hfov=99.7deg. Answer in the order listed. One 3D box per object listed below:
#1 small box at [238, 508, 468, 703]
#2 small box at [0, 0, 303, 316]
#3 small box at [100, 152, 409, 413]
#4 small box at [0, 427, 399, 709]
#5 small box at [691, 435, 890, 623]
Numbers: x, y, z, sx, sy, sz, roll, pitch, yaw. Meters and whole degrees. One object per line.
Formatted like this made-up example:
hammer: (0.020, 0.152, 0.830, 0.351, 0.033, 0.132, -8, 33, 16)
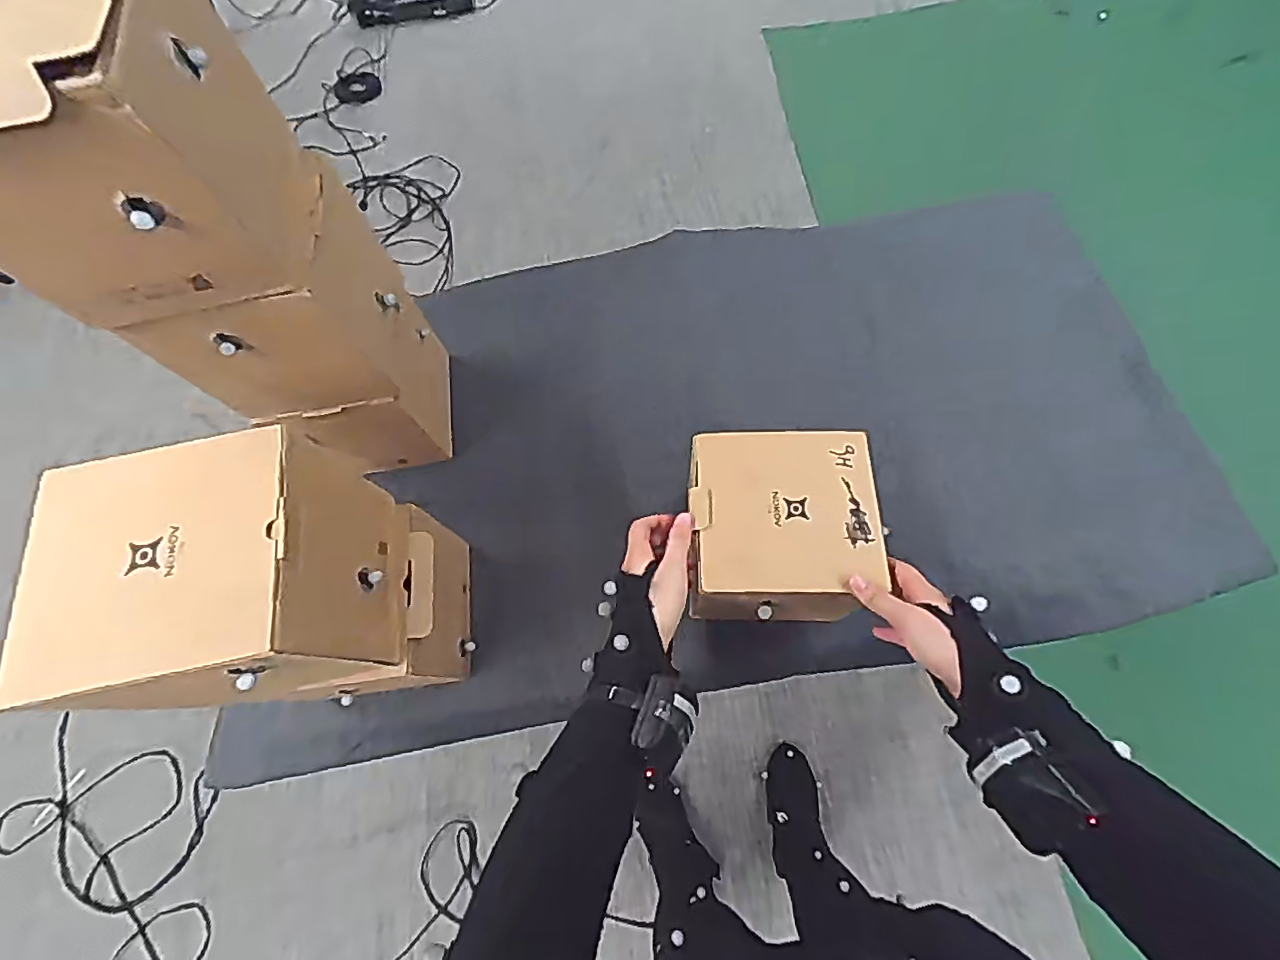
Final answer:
small box: (-0.295, 0.141, 0.586, 0.179, 0.176, 0.168, -8, 69, 1)
small box: (-0.370, -0.238, 0.385, 0.168, 0.176, 0.179, -12, 68, -3)
small box: (-0.354, -0.181, 0.536, 0.179, 0.176, 0.168, -9, 70, -1)
small box: (-0.320, 0.082, 0.435, 0.179, 0.176, 0.168, -12, 69, -2)
small box: (0.145, 0.062, 0.591, 0.179, 0.176, 0.168, -1, 68, 4)
